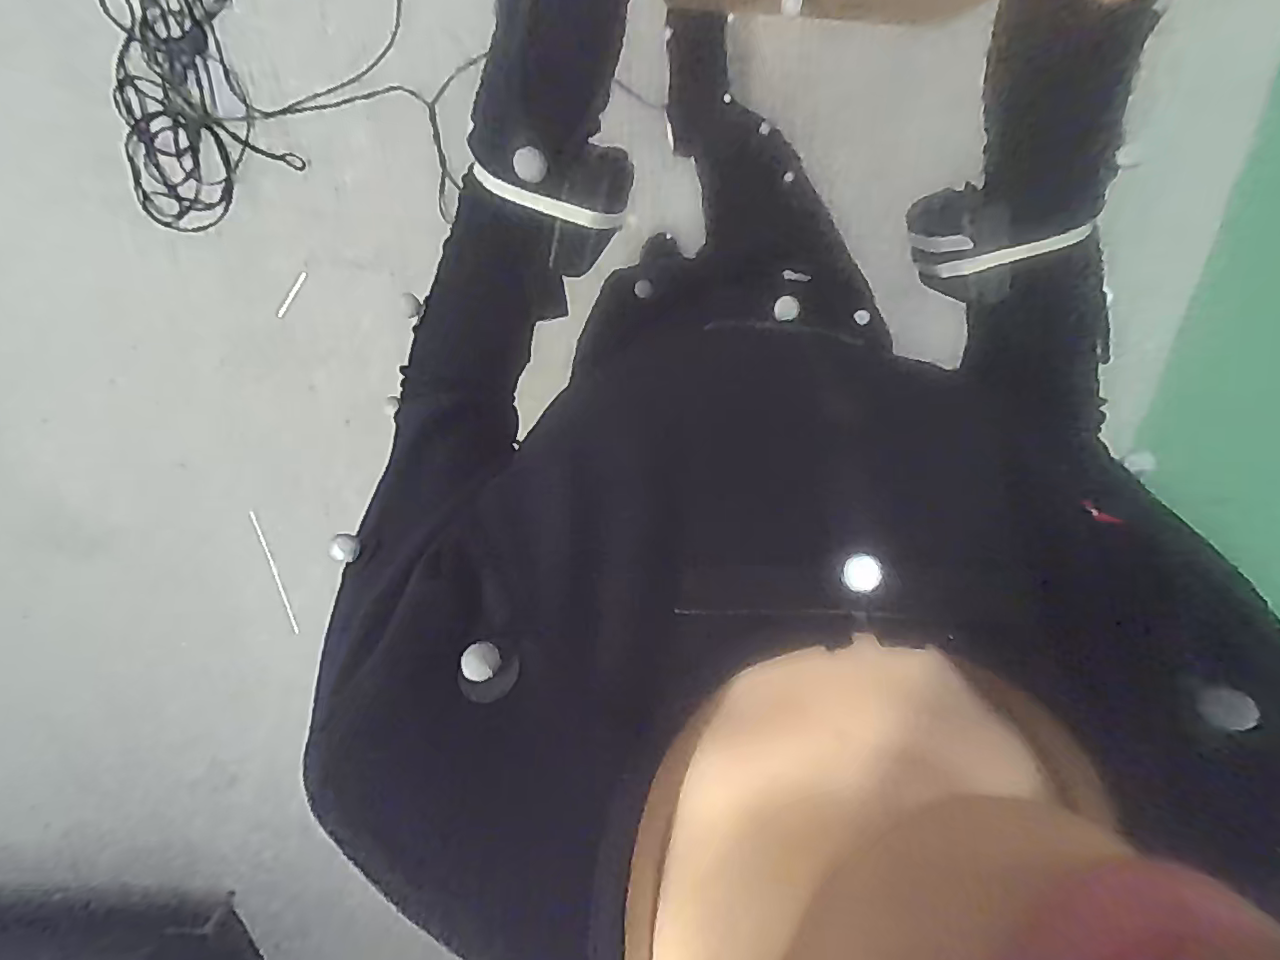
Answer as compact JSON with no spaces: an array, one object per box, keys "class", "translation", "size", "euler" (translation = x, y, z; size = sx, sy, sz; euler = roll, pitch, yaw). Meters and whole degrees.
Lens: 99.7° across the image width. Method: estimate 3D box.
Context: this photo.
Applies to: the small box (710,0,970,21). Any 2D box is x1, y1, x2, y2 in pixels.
[{"class":"small box","translation":[0.099,-0.308,0.200],"size":[0.168,0.176,0.179],"euler":[5,120,1]}]
